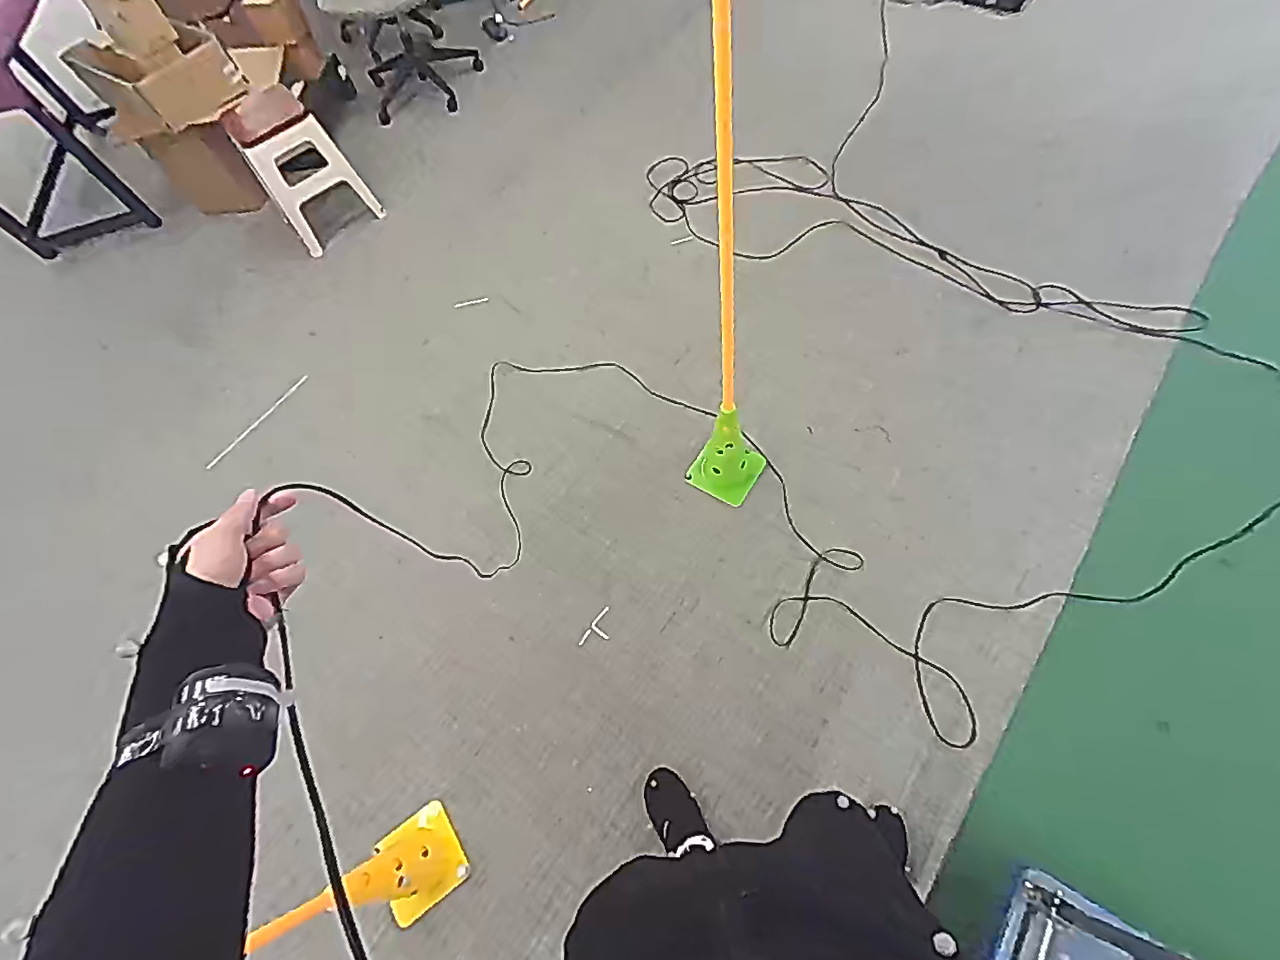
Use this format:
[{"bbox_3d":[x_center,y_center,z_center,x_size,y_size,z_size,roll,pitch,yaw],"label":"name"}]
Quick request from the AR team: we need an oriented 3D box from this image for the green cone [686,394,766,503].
[{"bbox_3d":[0.252,-0.119,1.546,0.200,0.368,0.202,28,69,19],"label":"green cone"}]
